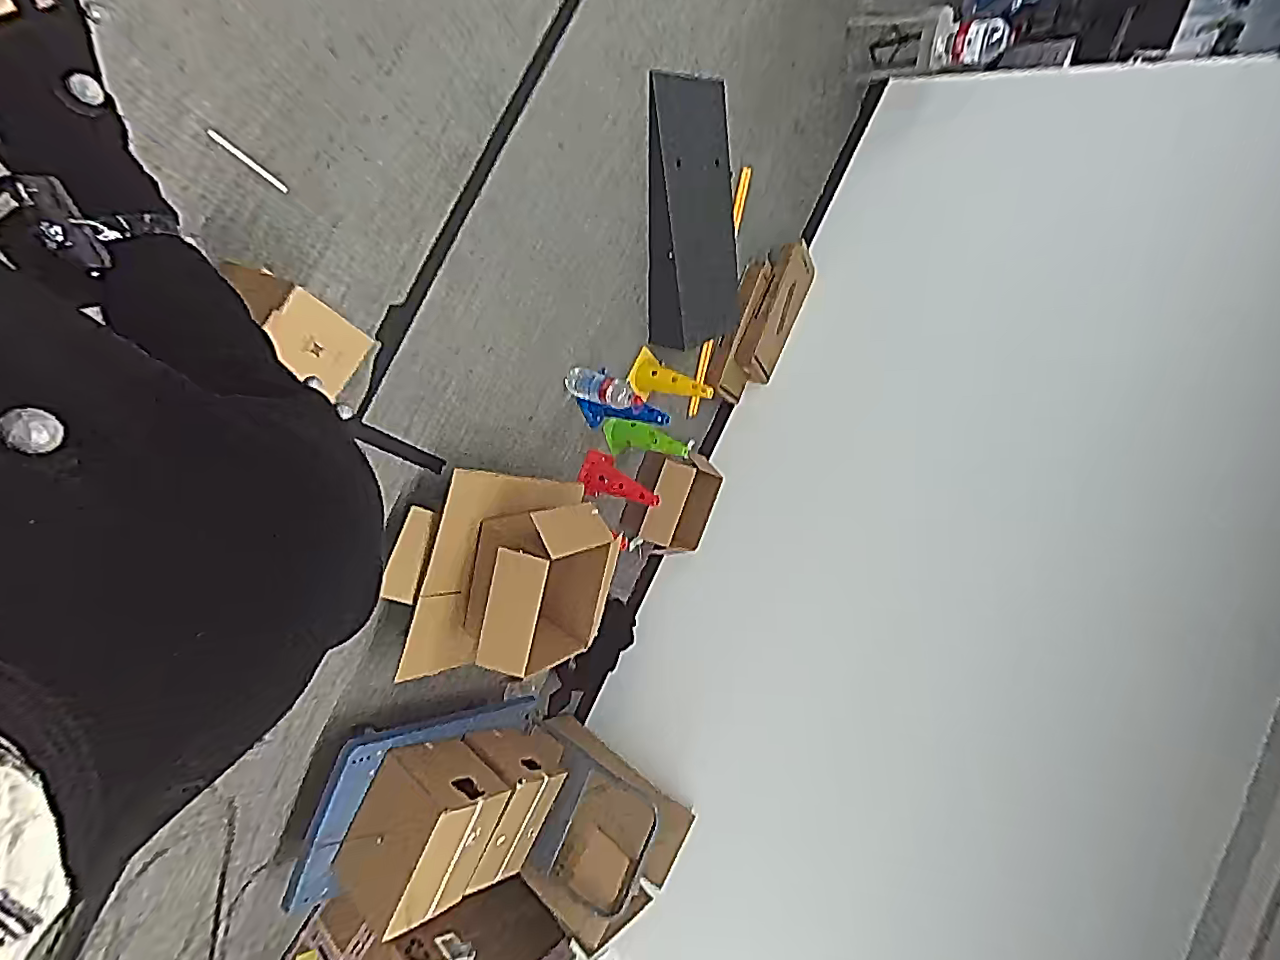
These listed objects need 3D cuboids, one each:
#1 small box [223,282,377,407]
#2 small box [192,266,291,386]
[{"bbox_3d":[-0.684,-0.275,1.087,0.168,0.176,0.179,-60,149,-8],"label":"small box"},{"bbox_3d":[-0.812,-0.335,1.166,0.179,0.176,0.168,-61,147,-10],"label":"small box"}]
